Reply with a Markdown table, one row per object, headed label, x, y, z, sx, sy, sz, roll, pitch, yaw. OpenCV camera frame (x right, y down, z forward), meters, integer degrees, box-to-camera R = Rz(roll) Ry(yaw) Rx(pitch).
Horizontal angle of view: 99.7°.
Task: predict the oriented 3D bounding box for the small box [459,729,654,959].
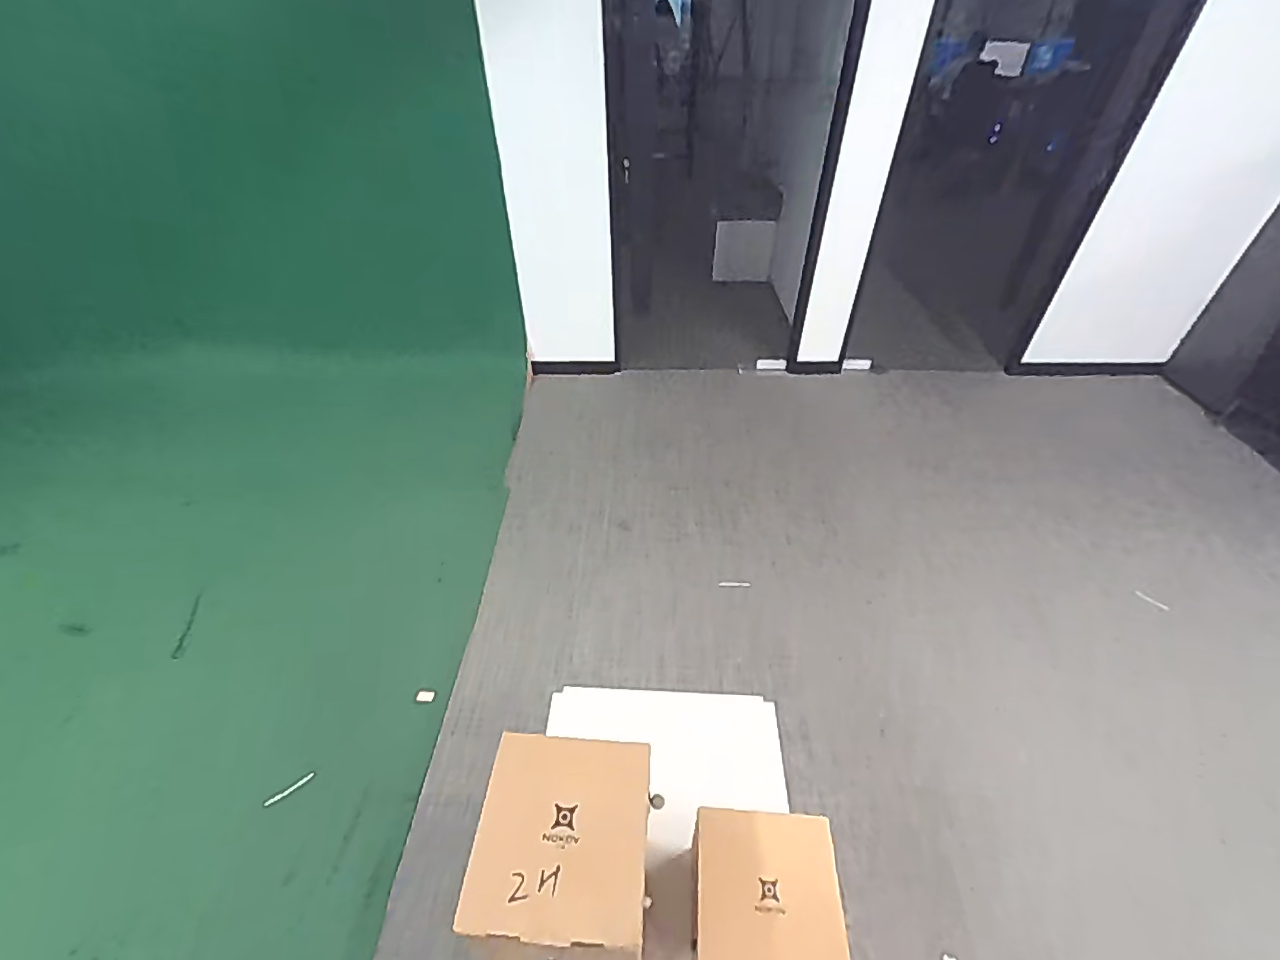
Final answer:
| label | x | y | z | sx | sy | sz | roll | pitch | yaw |
| --- | --- | --- | --- | --- | --- | --- | --- | --- | --- |
| small box | -0.074 | 0.398 | 0.584 | 0.168 | 0.176 | 0.179 | 3 | 42 | 3 |

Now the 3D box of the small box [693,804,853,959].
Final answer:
| label | x | y | z | sx | sy | sz | roll | pitch | yaw |
| --- | --- | --- | --- | --- | --- | --- | --- | --- | --- |
| small box | 0.153 | 0.536 | 0.676 | 0.168 | 0.176 | 0.179 | 2 | 42 | 4 |
